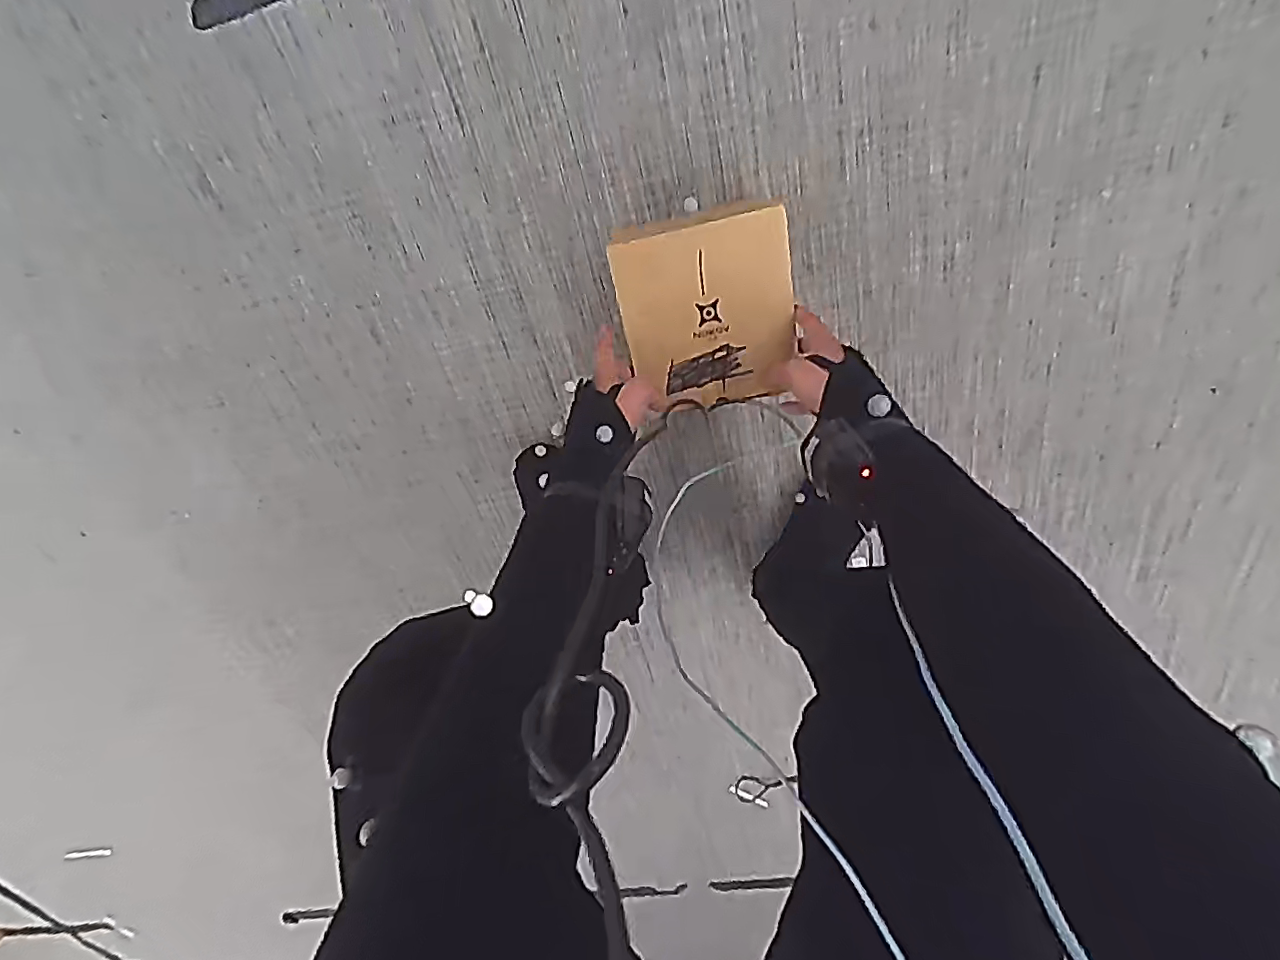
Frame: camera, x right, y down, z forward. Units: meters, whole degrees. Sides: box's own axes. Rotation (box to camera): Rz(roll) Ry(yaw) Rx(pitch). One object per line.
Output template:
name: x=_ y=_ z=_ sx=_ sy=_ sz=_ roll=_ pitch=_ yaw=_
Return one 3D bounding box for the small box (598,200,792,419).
small box: x=0.060 y=-0.190 z=0.587 sx=0.168 sy=0.176 sz=0.179 roll=-11 pitch=118 yaw=7
